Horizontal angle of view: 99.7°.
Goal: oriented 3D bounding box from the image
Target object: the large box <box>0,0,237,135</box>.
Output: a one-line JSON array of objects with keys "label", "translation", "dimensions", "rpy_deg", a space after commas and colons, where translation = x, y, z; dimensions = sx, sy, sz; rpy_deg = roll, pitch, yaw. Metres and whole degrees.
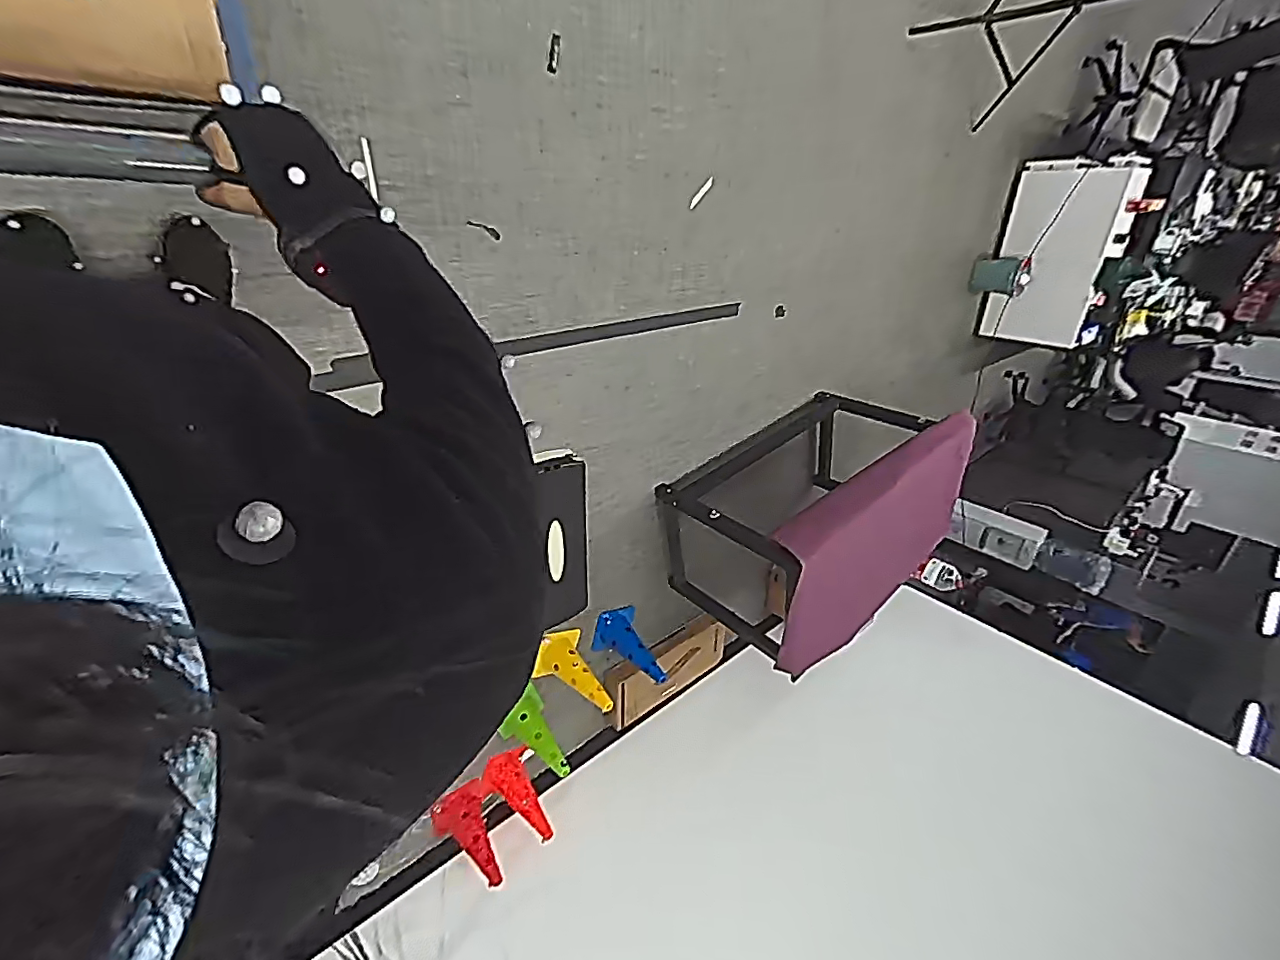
[{"label": "large box", "translation": [-0.777, -0.620, 0.637], "dimensions": [0.408, 0.320, 0.320], "rpy_deg": [-19, 123, -37]}]
